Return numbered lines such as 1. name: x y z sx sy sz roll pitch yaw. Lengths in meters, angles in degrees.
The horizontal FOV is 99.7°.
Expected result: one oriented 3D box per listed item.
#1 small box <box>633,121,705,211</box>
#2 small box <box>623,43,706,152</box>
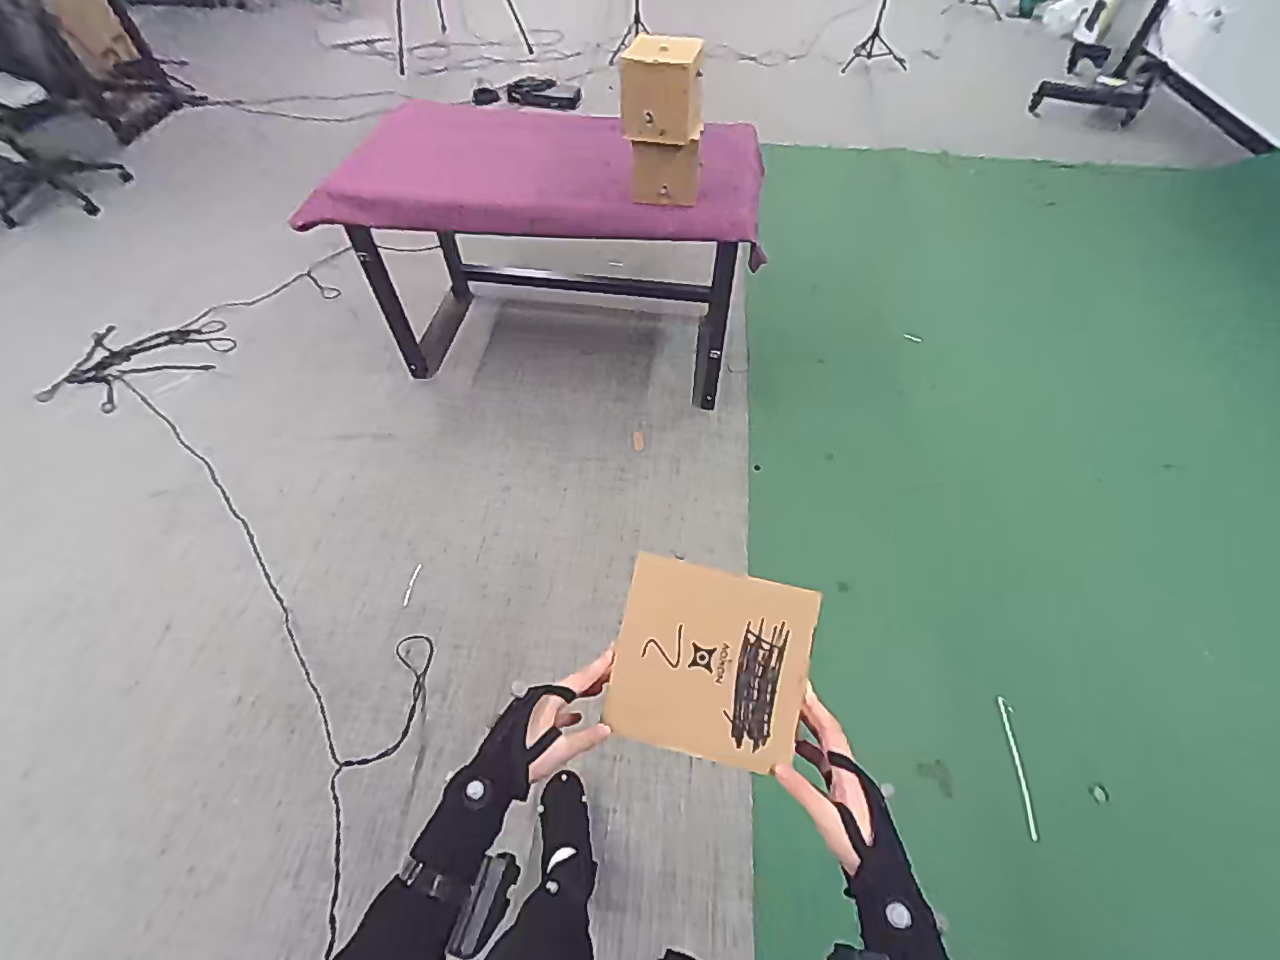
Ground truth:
1. small box: 0.078 -0.851 1.464 0.179 0.176 0.168 5 52 5
2. small box: 0.060 -0.936 1.324 0.168 0.176 0.179 11 55 10
